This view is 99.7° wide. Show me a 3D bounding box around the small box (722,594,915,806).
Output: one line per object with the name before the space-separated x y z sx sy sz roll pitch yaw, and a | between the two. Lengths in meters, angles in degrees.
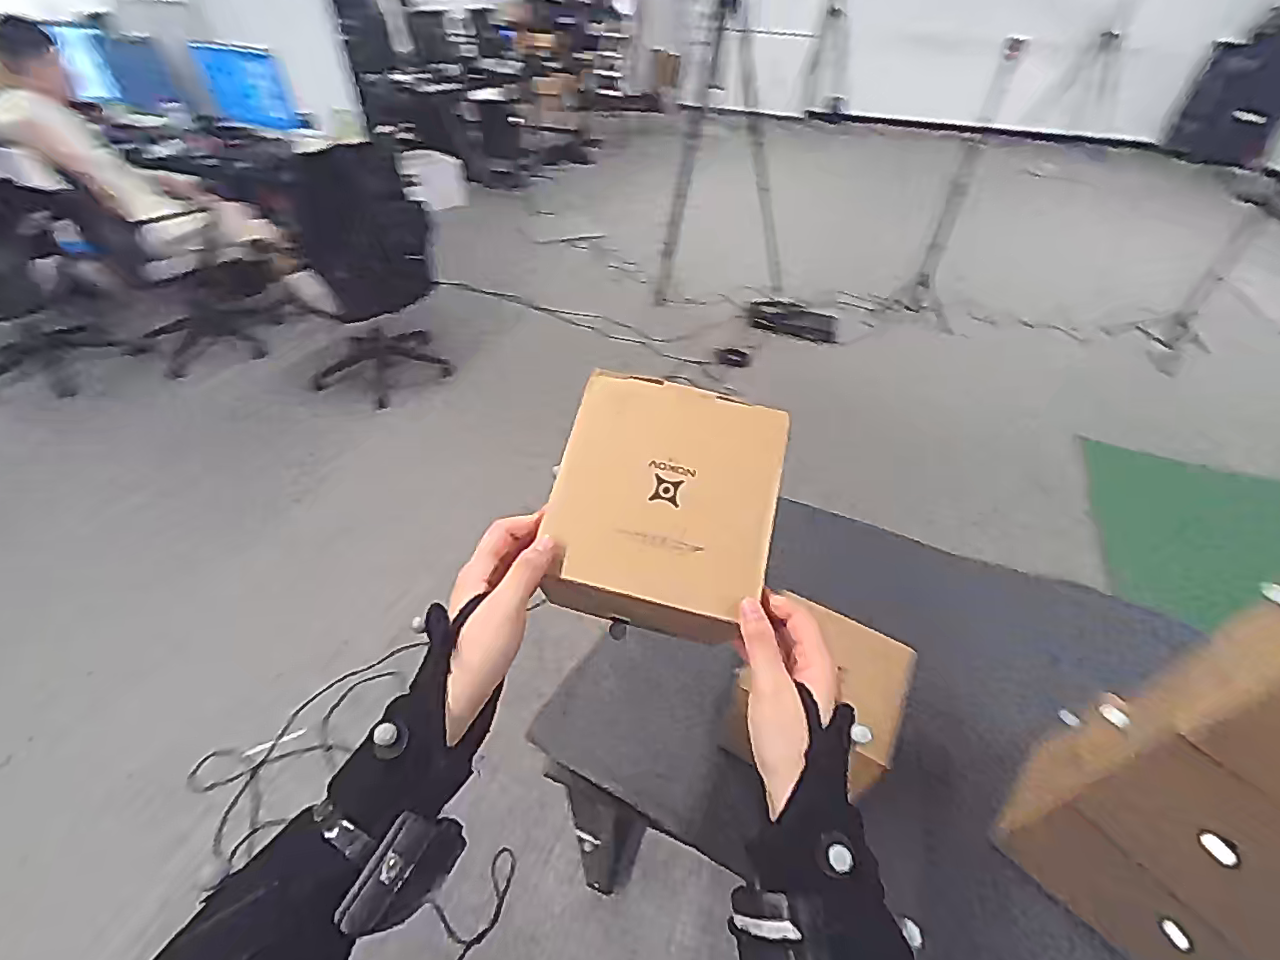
small box | 0.225 0.290 0.706 0.179 0.176 0.168 23 46 22

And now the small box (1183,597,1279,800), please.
small box | 0.548 0.161 0.373 0.168 0.176 0.179 -26 50 -29

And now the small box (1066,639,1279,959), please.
small box | 0.546 0.282 0.482 0.168 0.176 0.179 -25 49 -27
